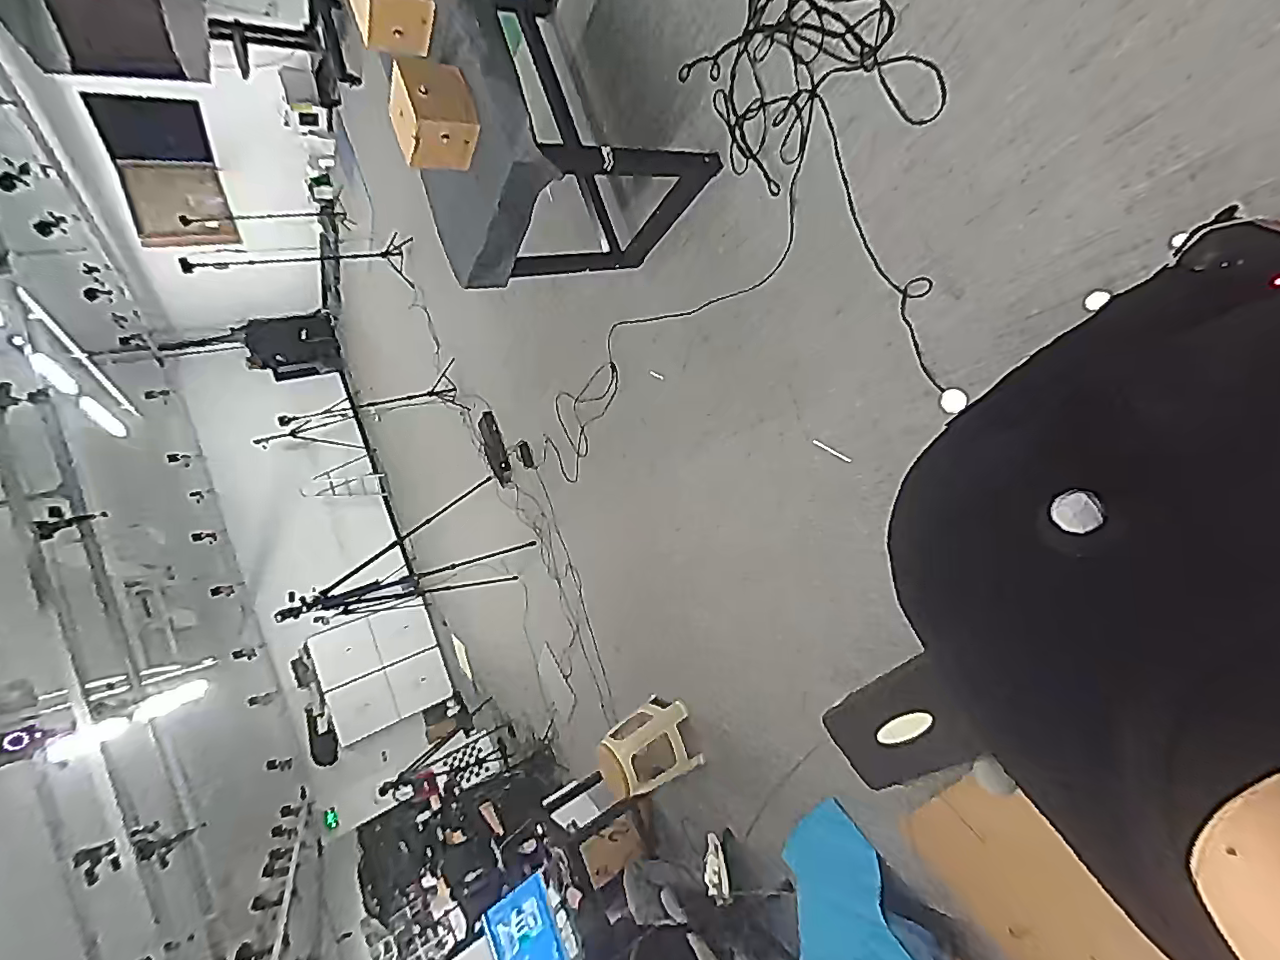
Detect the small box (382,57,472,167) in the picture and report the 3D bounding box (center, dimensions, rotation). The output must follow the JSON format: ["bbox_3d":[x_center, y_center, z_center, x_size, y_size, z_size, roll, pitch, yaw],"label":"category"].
[{"bbox_3d":[-0.560,-0.957,1.422,0.168,0.176,0.179,-26,82,57],"label":"small box"}]

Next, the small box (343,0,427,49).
[{"bbox_3d":[-0.683,-1.293,1.438,0.168,0.176,0.179,-24,85,58],"label":"small box"}]
